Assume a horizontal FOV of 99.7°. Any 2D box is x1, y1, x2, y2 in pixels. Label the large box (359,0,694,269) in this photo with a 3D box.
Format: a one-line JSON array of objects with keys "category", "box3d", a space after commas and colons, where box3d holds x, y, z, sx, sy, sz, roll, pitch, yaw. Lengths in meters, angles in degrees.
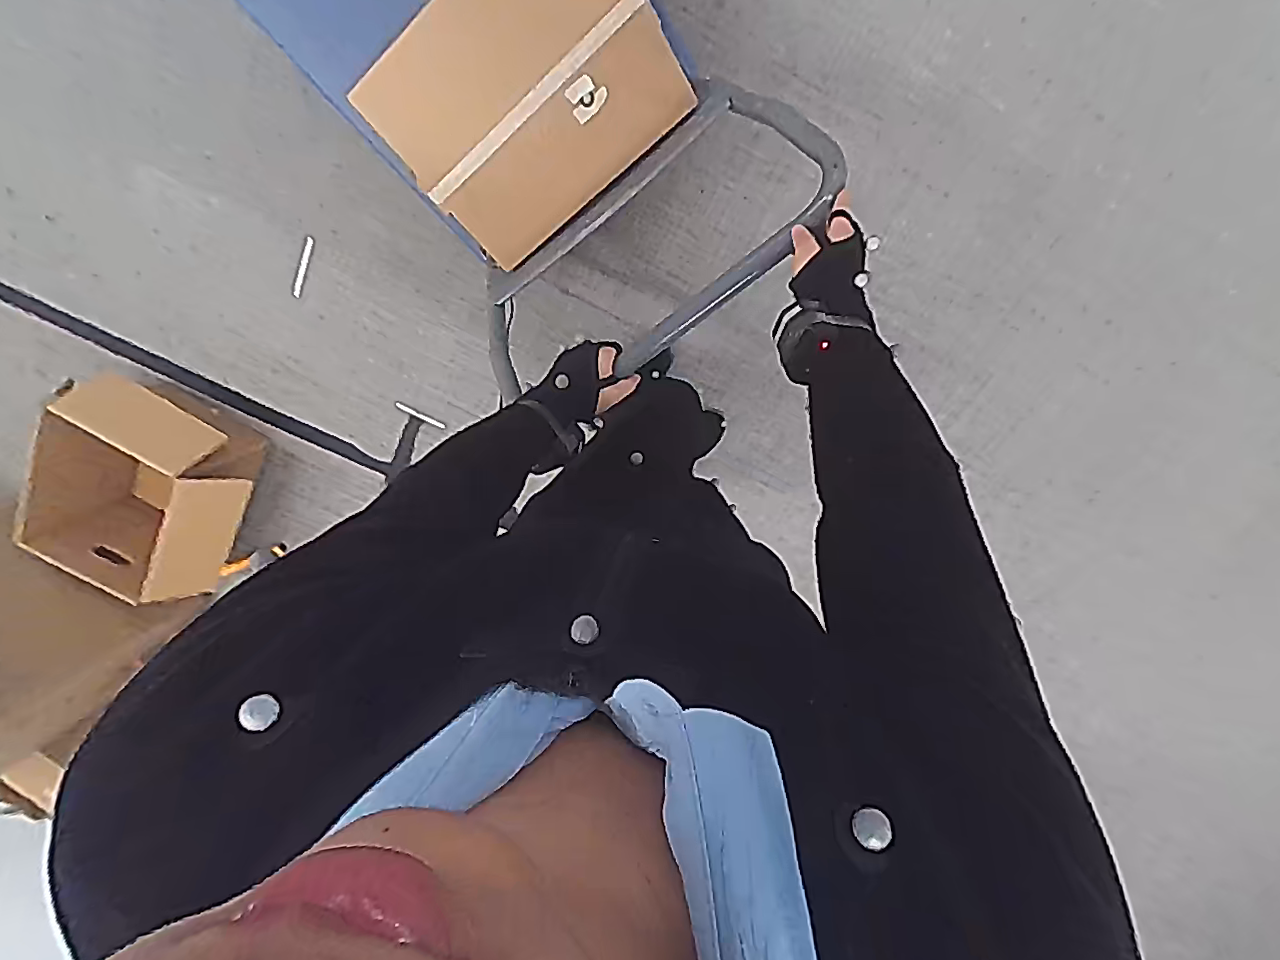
[{"category": "large box", "box3d": [-0.186, -0.646, 0.912, 0.408, 0.320, 0.320, -36, 127, 14]}]
